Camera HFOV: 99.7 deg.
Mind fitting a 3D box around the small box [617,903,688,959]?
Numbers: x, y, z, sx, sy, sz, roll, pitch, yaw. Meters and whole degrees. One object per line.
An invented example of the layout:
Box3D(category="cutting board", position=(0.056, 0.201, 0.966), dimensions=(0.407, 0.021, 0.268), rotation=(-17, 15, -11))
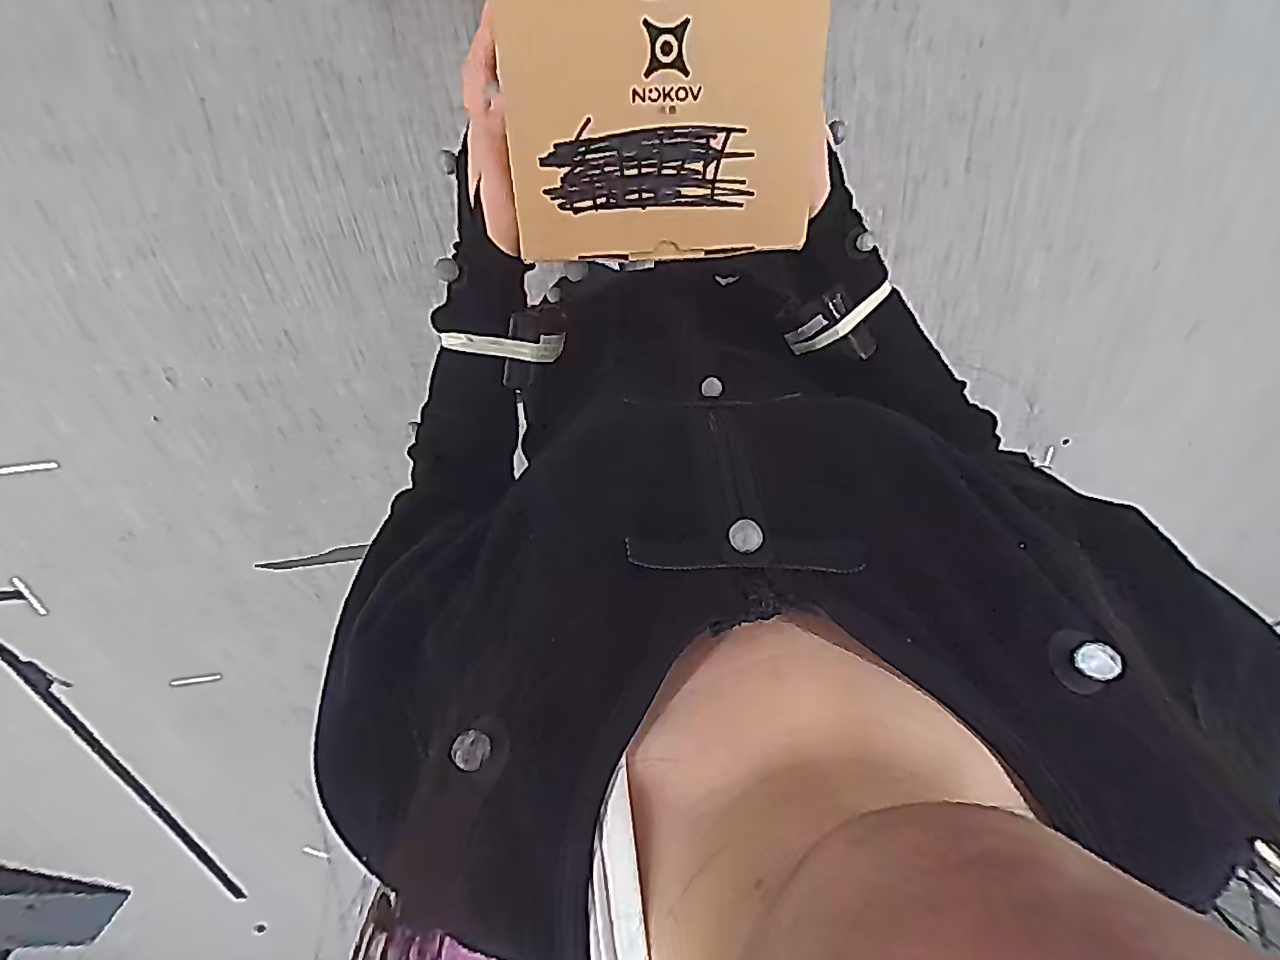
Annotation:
Box3D(category="small box", position=(0.034, 1.219, 1.372), dimensions=(0.168, 0.176, 0.179), rotation=(-6, 120, -7))
